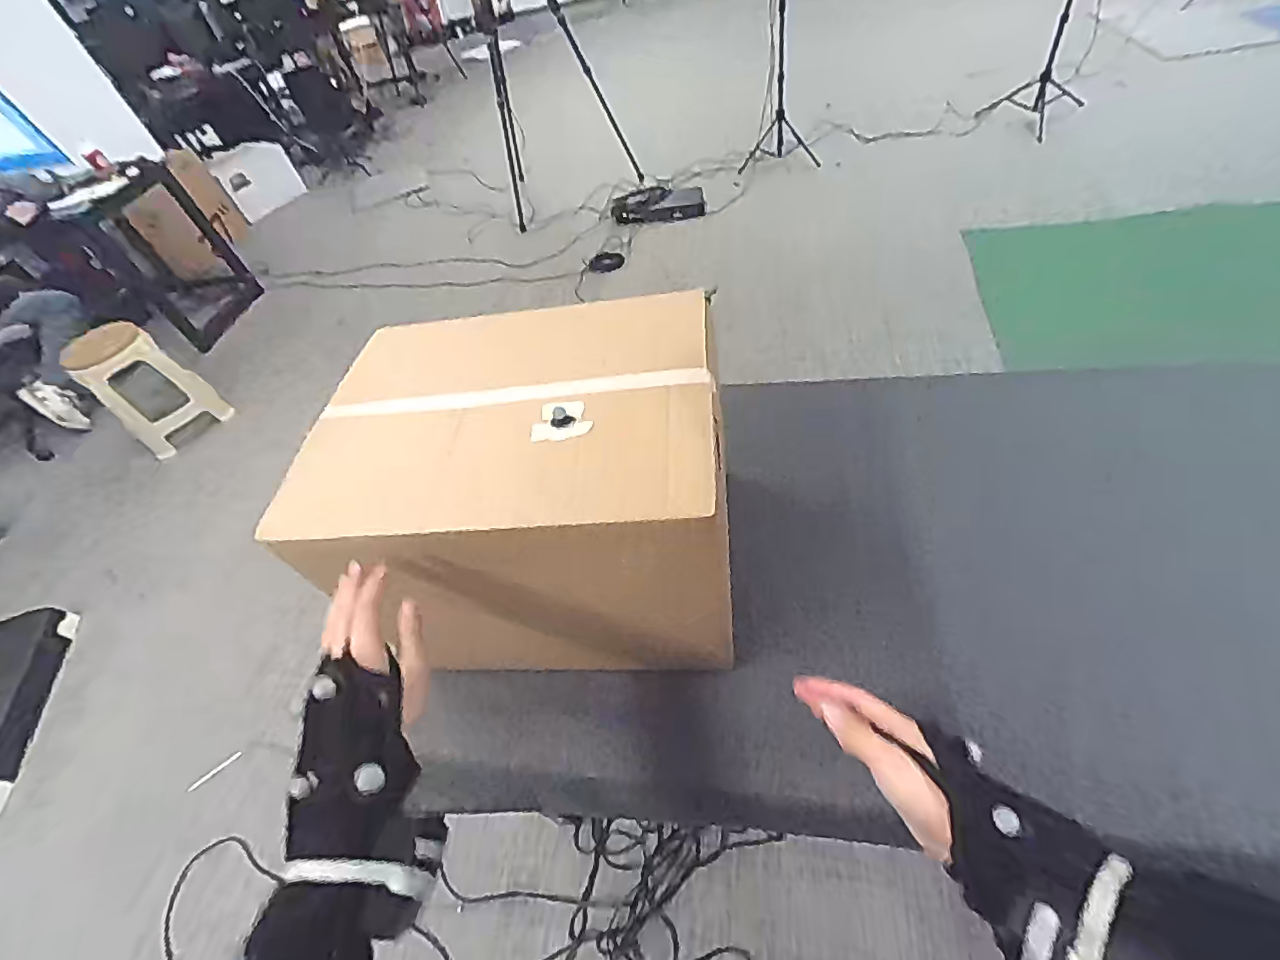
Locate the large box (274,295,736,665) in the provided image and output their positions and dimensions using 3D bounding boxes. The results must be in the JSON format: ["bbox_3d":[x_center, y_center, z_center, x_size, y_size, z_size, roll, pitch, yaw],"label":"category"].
[{"bbox_3d":[-0.099,0.015,0.651,0.408,0.320,0.320,-3,51,9],"label":"large box"}]
